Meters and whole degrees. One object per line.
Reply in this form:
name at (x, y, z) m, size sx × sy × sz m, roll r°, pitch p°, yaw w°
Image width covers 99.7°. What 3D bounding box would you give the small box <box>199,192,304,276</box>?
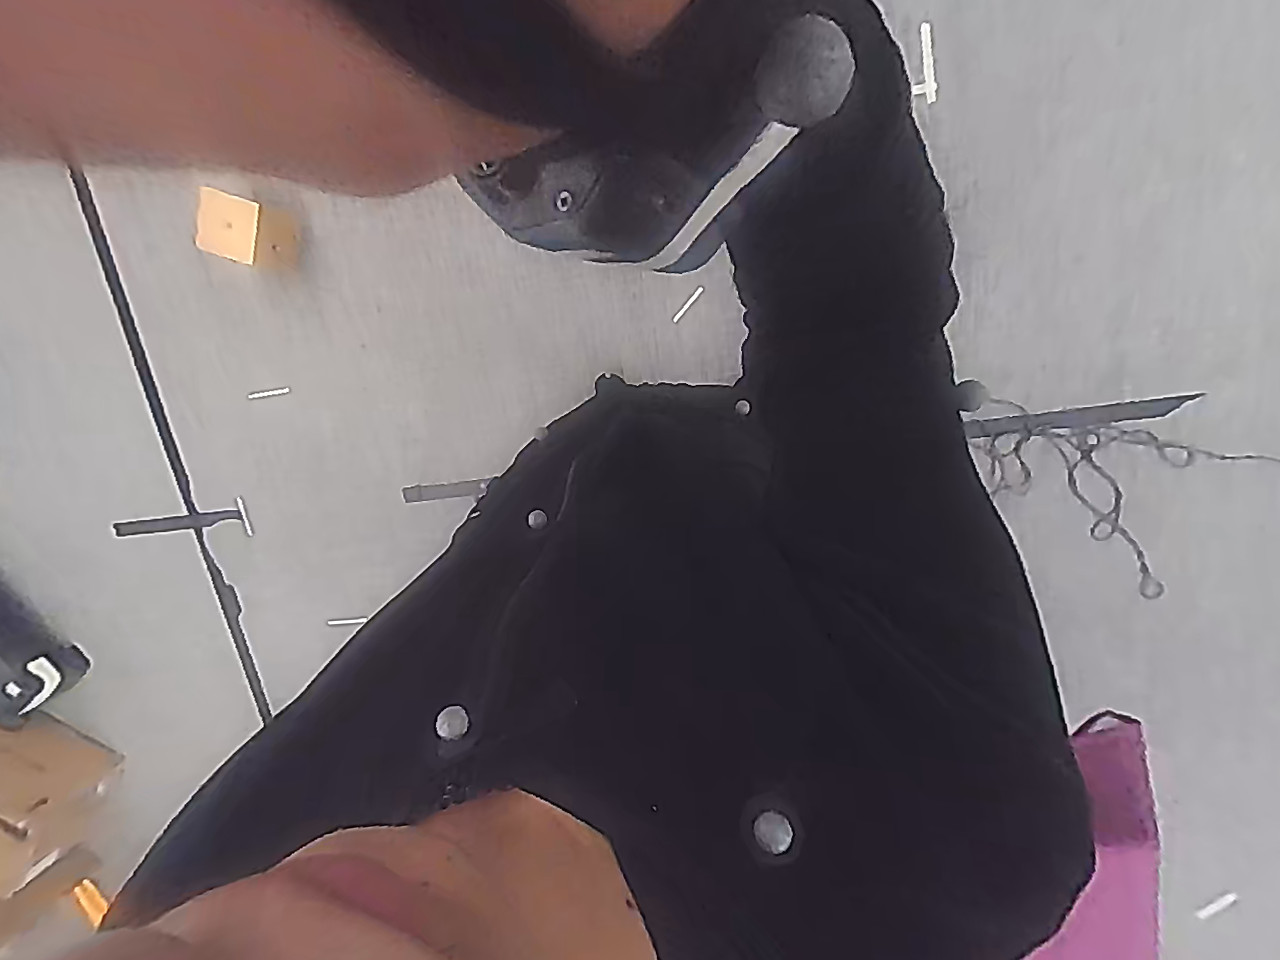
small box at (-1.101, -0.692, 1.542) m, size 0.179 × 0.176 × 0.168 m, roll 18°, pitch 104°, yaw 4°
